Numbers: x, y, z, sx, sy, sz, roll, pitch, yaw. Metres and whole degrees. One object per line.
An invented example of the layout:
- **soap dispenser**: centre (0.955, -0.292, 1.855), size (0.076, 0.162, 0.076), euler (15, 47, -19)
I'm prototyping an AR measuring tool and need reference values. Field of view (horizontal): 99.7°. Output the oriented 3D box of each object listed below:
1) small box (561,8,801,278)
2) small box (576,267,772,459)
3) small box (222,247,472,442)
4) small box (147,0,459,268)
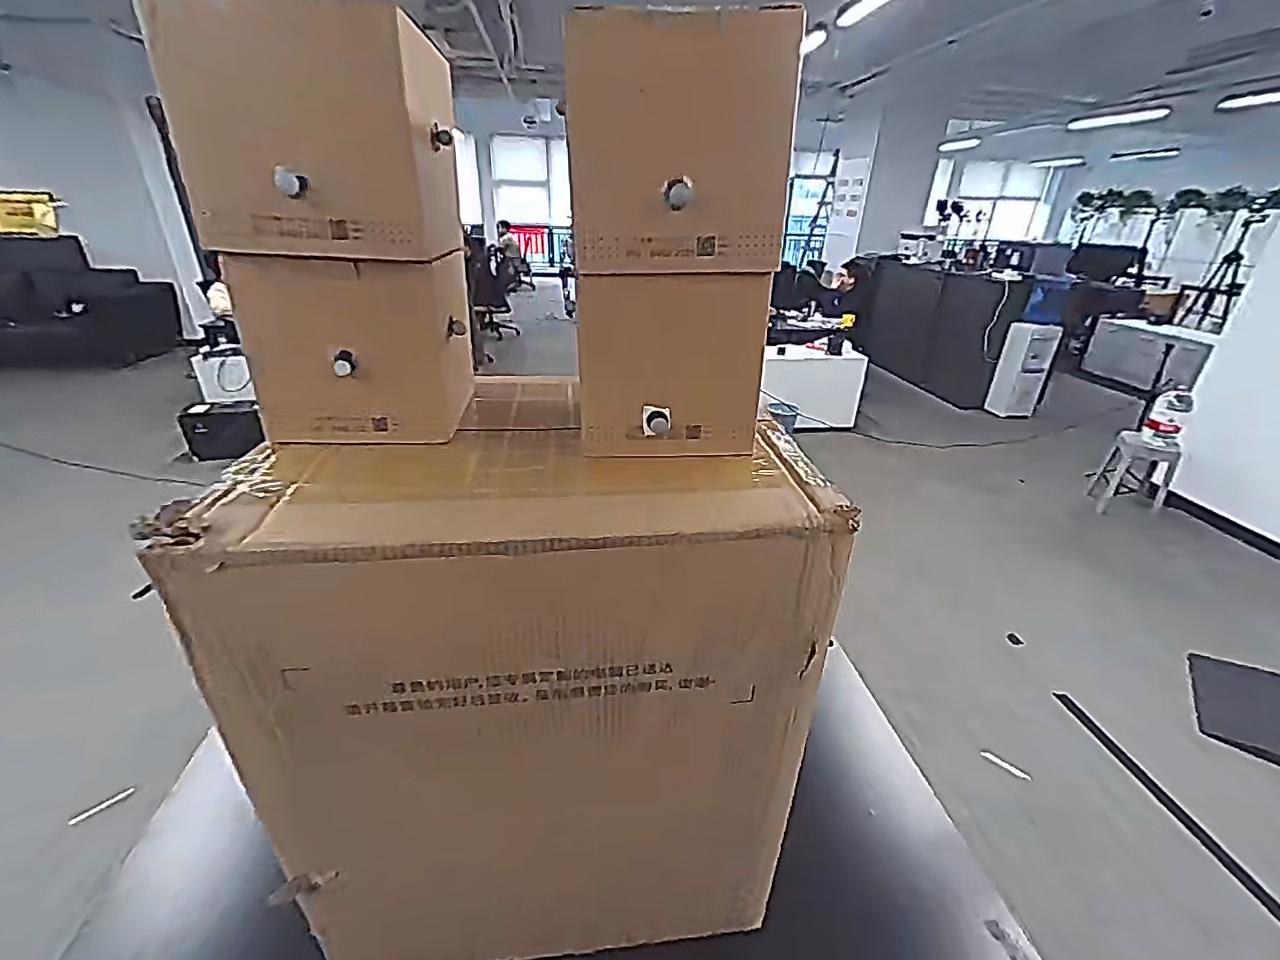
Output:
- **small box**: centre (0.025, -0.276, 0.471), size (0.168, 0.176, 0.179), euler (-2, 27, -2)
- **small box**: centre (0.023, -0.132, 0.553), size (0.168, 0.176, 0.179), euler (-3, 28, -4)
- **small box**: centre (-0.272, -0.145, 0.555), size (0.168, 0.176, 0.179), euler (0, 27, -8)
- **small box**: centre (-0.258, -0.285, 0.467), size (0.168, 0.176, 0.179), euler (0, 27, -7)
